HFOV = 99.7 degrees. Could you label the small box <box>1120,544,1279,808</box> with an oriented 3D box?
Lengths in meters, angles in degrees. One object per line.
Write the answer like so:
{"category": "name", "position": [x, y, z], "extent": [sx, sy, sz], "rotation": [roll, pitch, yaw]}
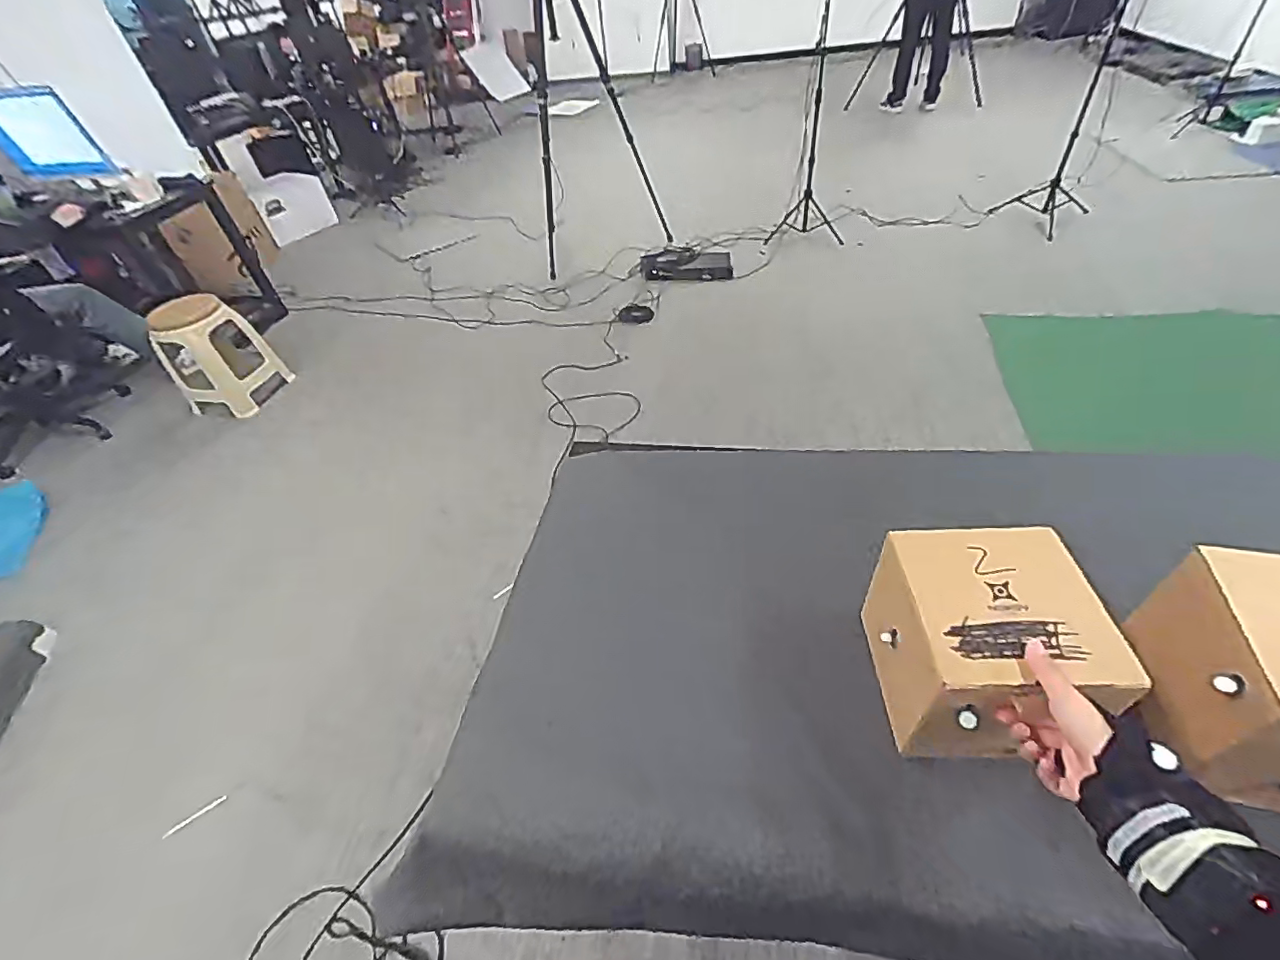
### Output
{"category": "small box", "position": [0.609, 0.190, 0.510], "extent": [0.168, 0.176, 0.179], "rotation": [7, 47, 15]}
